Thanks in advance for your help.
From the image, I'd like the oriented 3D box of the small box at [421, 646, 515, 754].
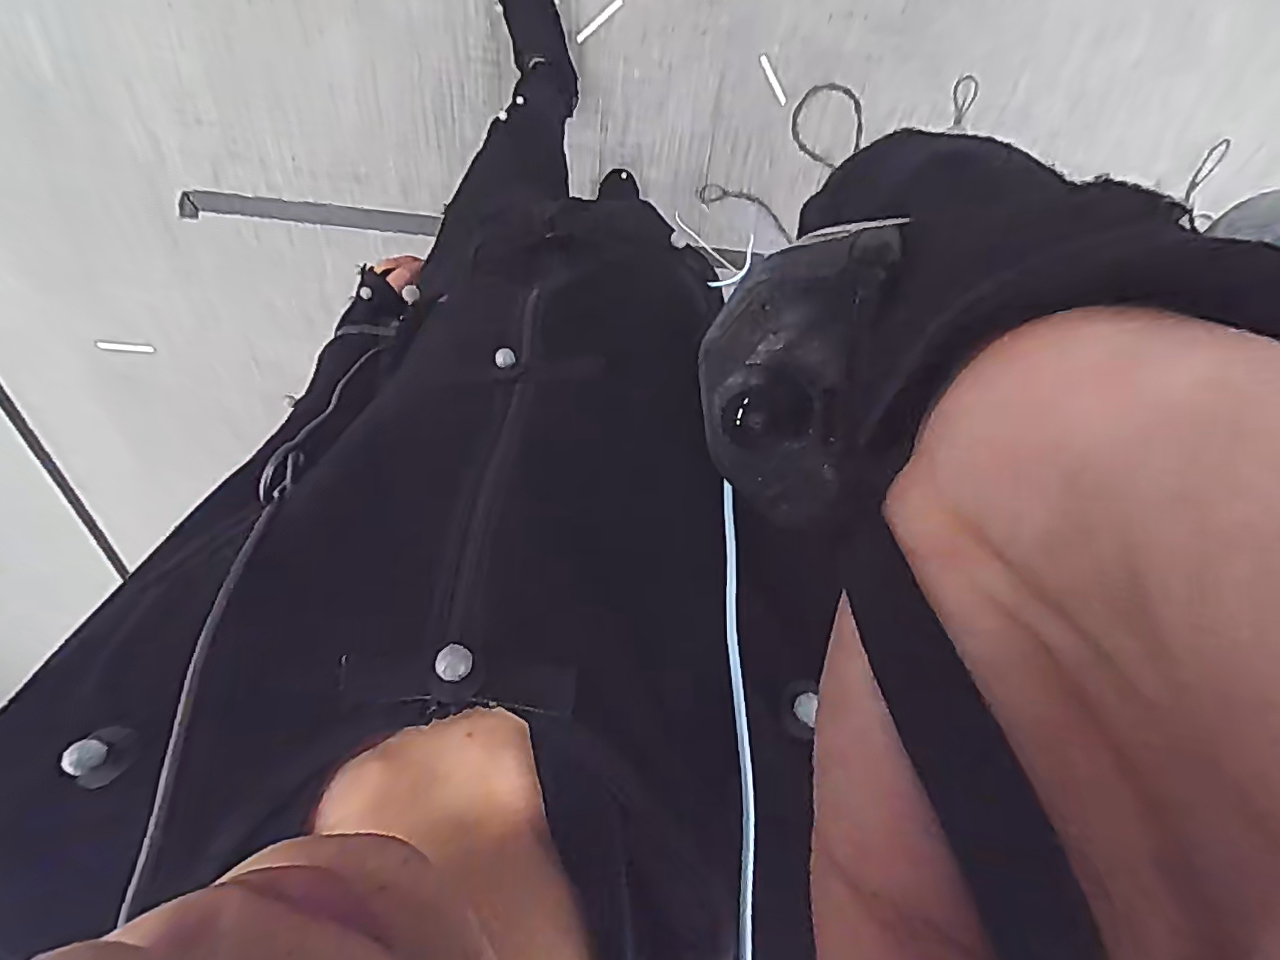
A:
[{"bbox_3d":[-0.381,0.497,1.227,0.168,0.176,0.179,4,127,-4],"label":"small box"}]
